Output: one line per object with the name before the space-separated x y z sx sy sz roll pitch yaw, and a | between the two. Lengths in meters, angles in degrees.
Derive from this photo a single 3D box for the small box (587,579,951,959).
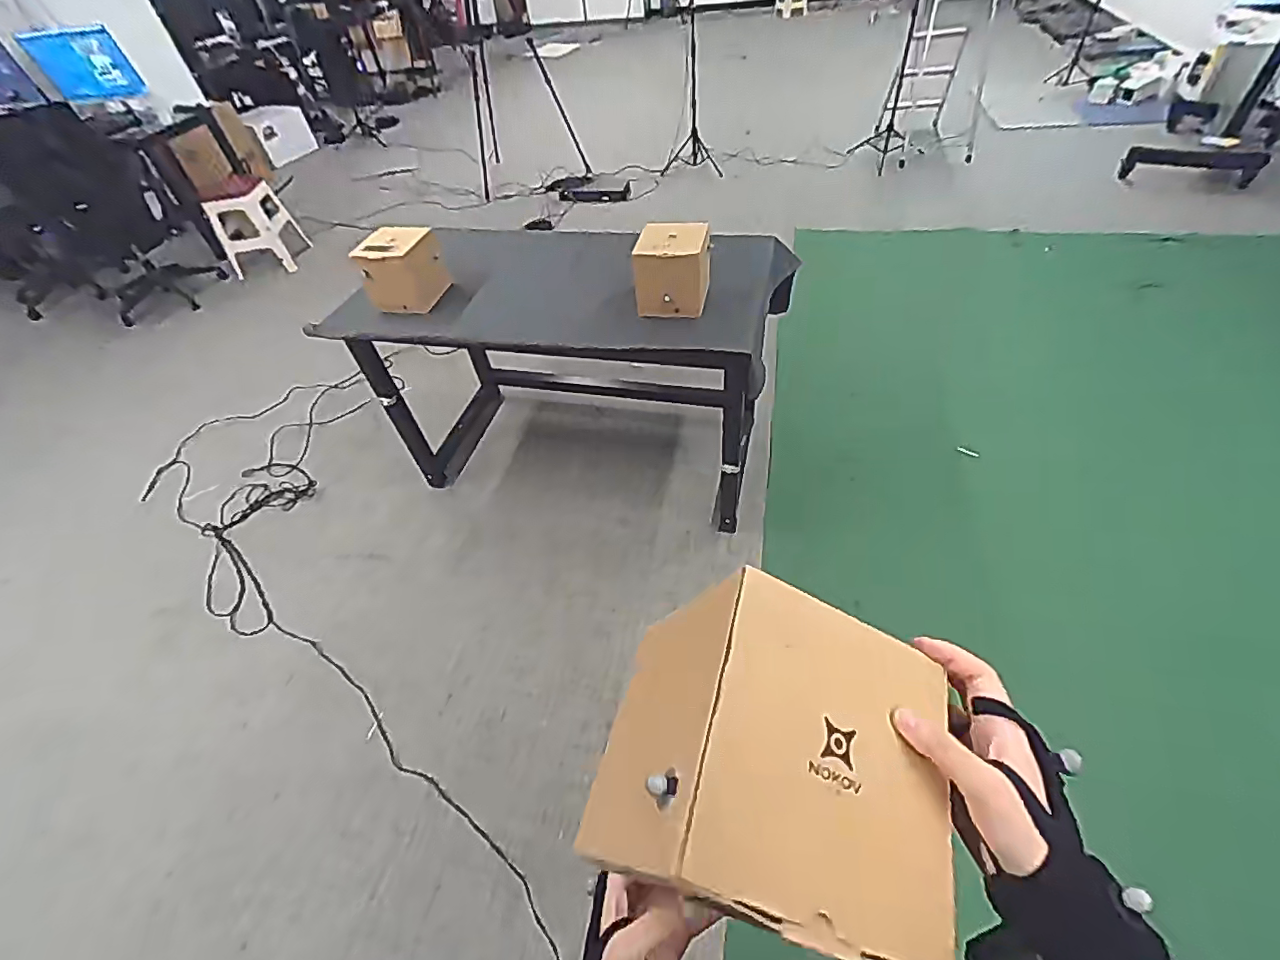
small box | 0.079 0.201 0.378 0.168 0.176 0.179 25 54 -10

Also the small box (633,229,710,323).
small box | 0.087 -0.526 1.388 0.168 0.176 0.179 4 49 14
